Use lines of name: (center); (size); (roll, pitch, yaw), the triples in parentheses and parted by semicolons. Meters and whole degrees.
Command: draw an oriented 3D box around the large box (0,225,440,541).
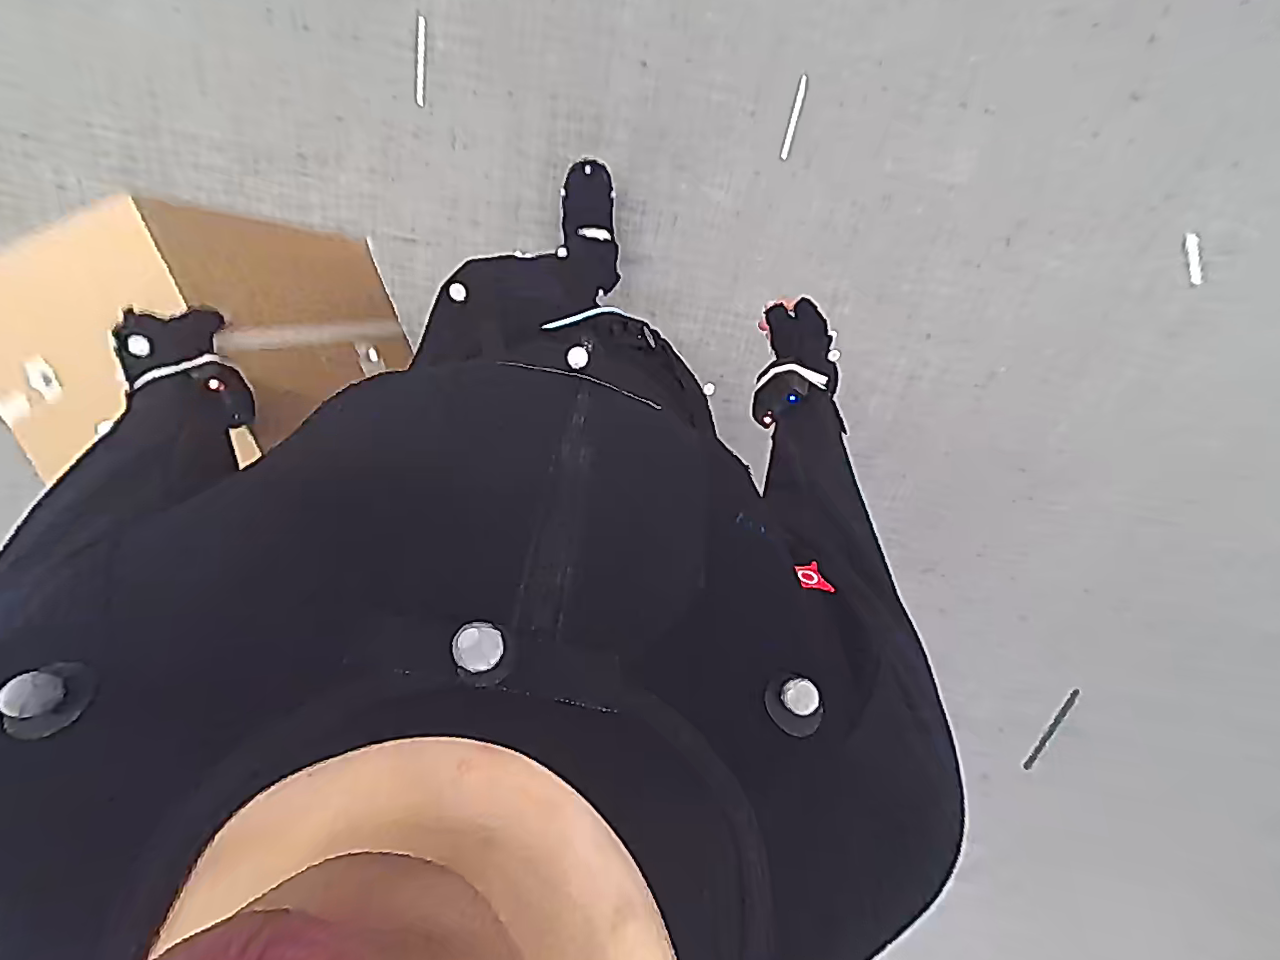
large box: (-0.591, -0.150, 0.832); (0.320, 0.408, 0.320); (-16, 103, 12)
